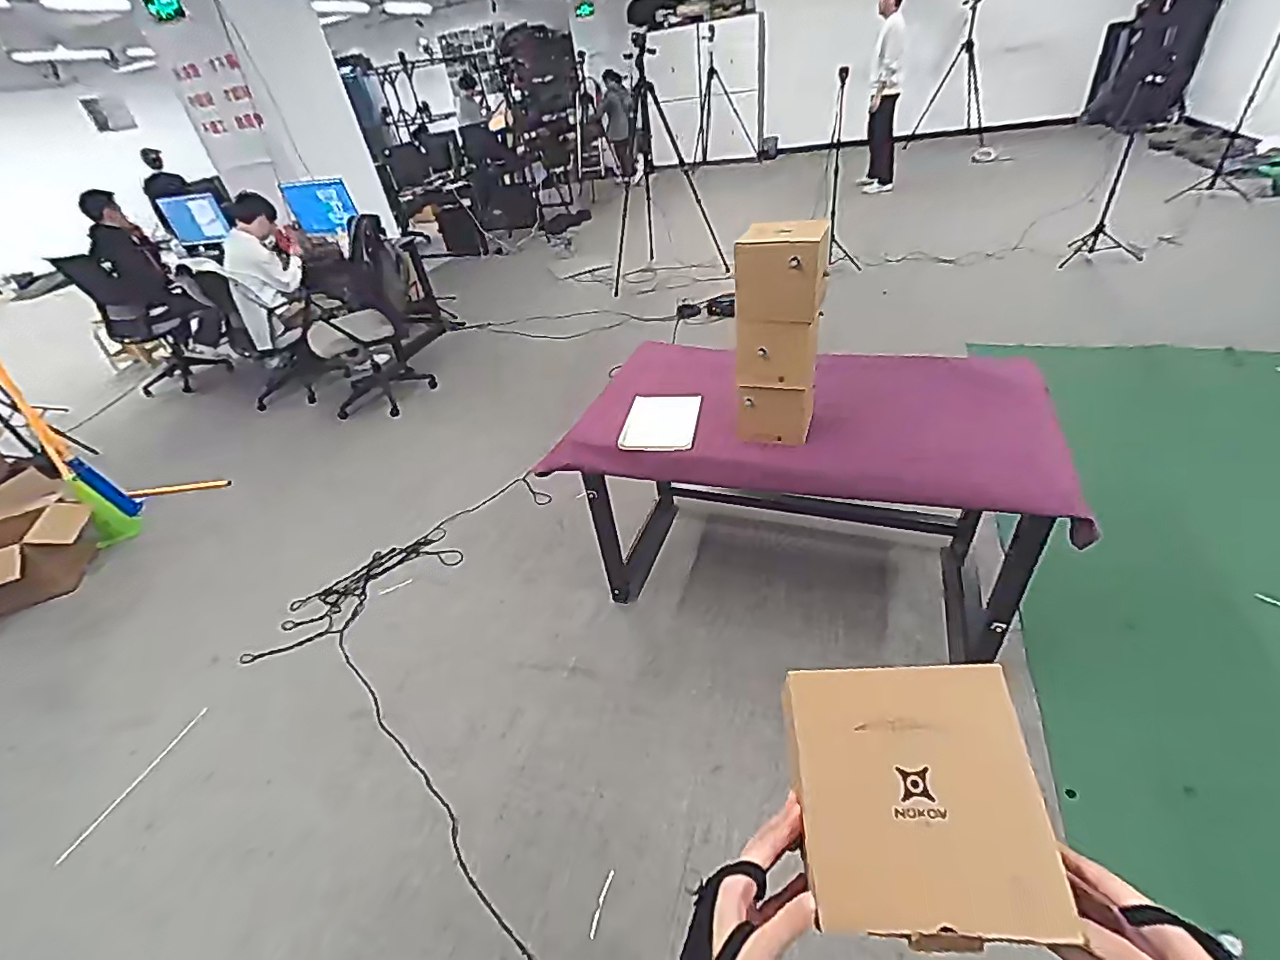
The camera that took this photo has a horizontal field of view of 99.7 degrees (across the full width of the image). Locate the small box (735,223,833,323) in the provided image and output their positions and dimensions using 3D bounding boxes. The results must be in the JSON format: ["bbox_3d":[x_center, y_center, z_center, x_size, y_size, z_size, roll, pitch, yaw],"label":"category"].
[{"bbox_3d":[0.317,-0.455,1.191,0.179,0.176,0.168,9,39,23],"label":"small box"}]

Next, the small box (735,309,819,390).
[{"bbox_3d":[0.333,-0.329,1.297,0.168,0.176,0.179,8,39,22],"label":"small box"}]
